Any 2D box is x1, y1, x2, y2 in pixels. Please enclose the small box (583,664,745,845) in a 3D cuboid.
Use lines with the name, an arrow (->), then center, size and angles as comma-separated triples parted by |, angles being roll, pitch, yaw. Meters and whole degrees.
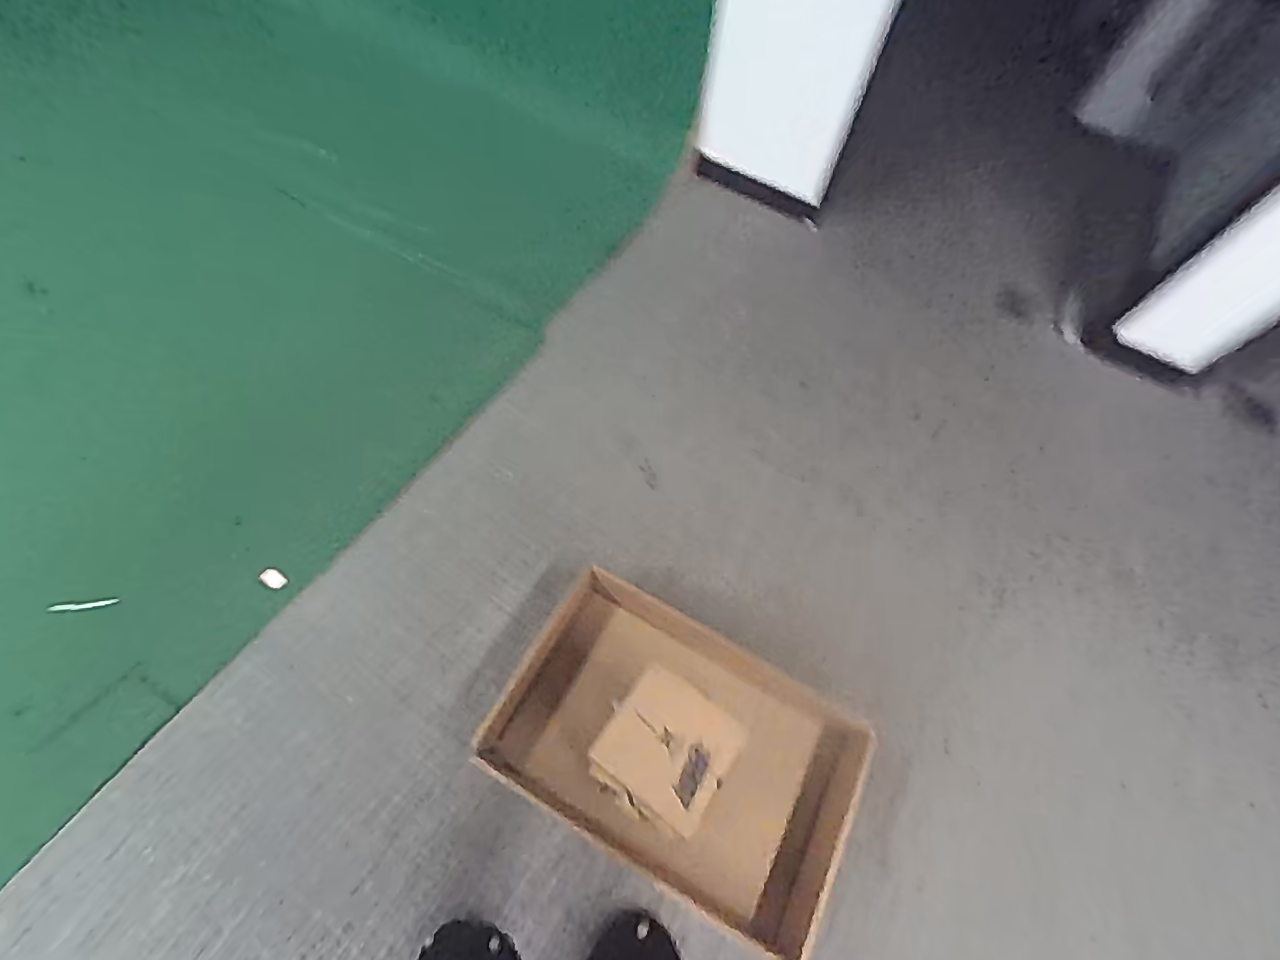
small box -> 0.031, 0.418, 0.836 | 0.179, 0.176, 0.168 | 36, 64, 15

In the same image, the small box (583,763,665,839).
small box -> 0.016, 0.503, 0.976 | 0.168, 0.176, 0.179 | 35, 65, 13
